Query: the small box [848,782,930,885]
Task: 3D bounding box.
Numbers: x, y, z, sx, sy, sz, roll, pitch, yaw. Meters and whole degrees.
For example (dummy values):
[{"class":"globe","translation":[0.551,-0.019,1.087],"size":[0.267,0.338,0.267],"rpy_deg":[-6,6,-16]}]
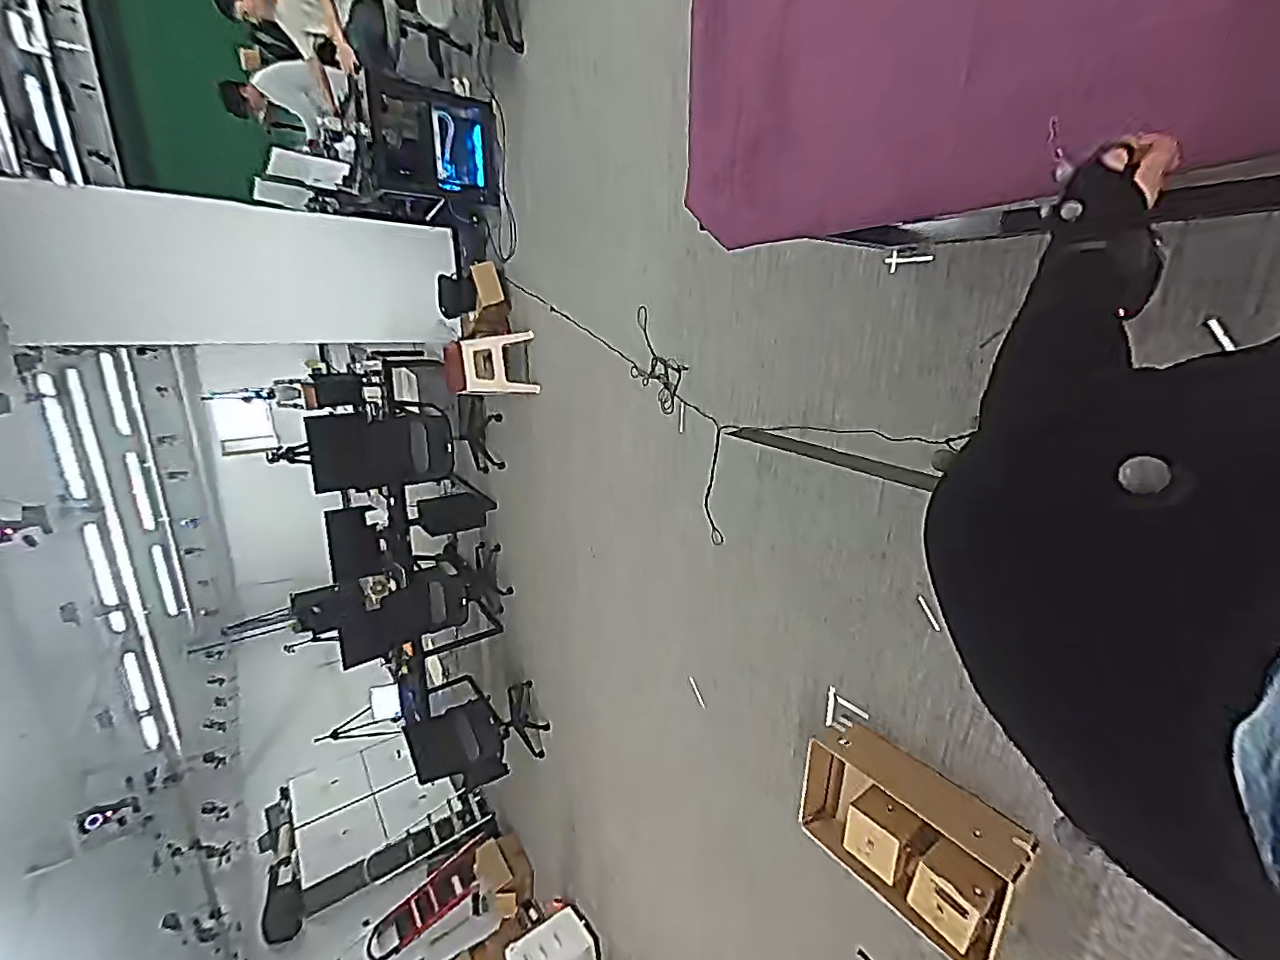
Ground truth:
[{"class":"small box","translation":[0.783,1.099,1.698],"size":[0.168,0.176,0.179],"rpy_deg":[21,116,51]}]
